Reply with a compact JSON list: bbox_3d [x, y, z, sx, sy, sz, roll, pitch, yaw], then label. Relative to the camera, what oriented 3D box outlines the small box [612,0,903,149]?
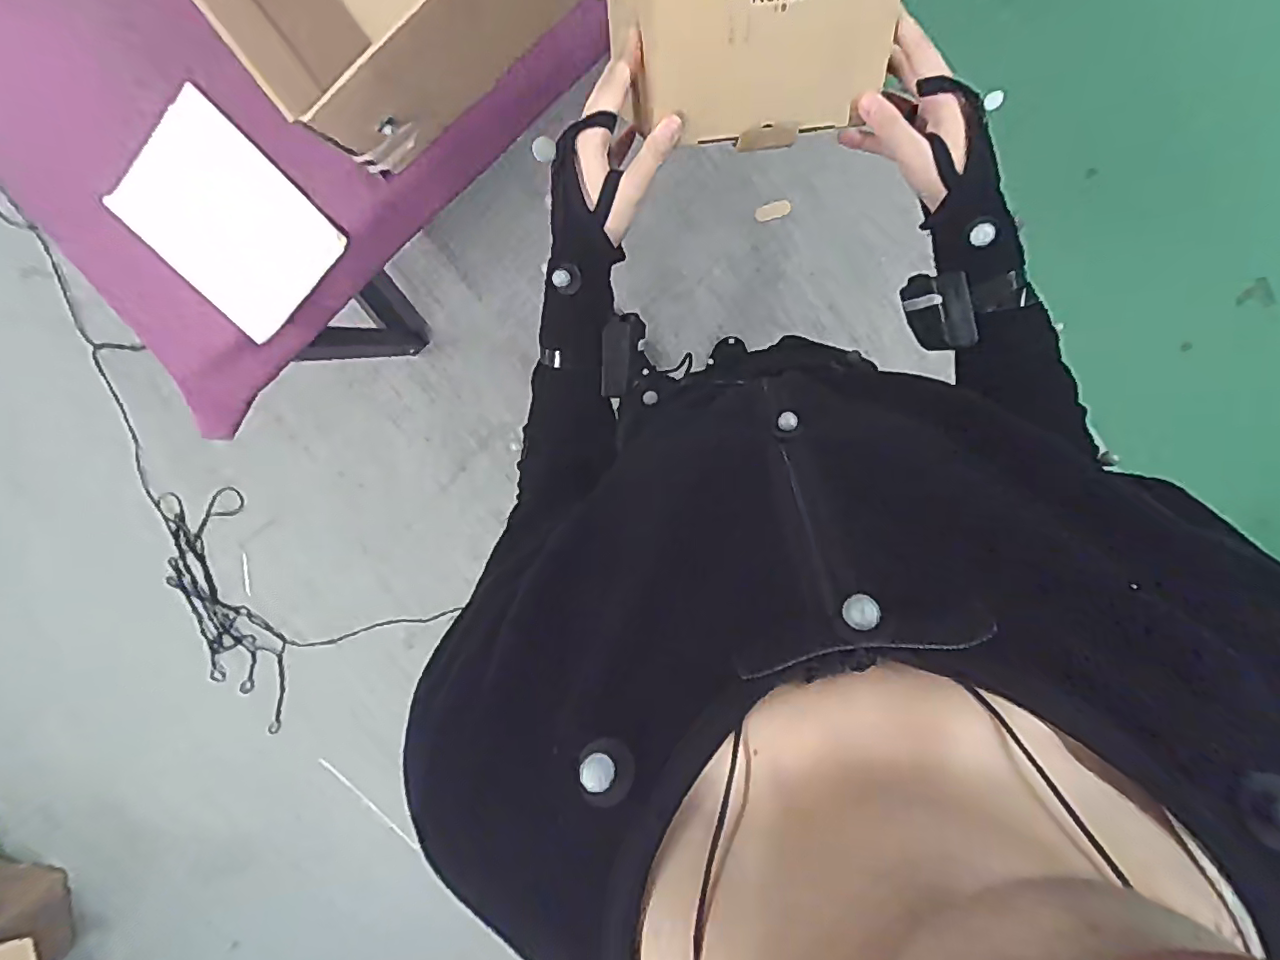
[{"bbox_3d":[0.072,-0.361,0.382,0.168,0.176,0.179,-10,135,-5],"label":"small box"}]
